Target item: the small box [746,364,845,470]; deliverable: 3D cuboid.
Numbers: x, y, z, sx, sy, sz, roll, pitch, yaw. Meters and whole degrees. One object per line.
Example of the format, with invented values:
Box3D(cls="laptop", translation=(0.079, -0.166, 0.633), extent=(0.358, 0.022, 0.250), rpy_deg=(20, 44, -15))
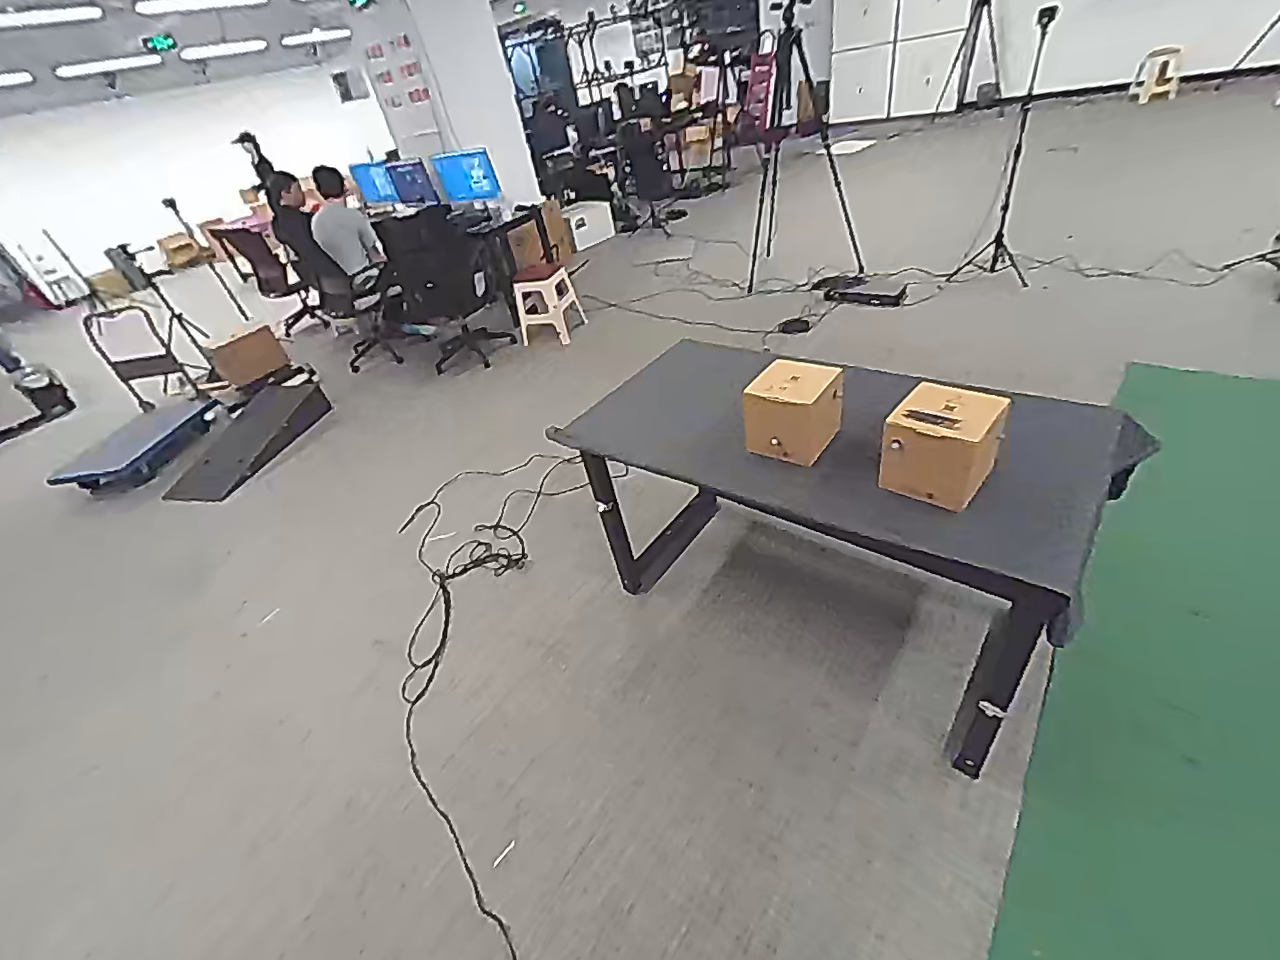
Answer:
Box3D(cls="small box", translation=(0.368, -0.151, 1.282), extent=(0.168, 0.176, 0.179), rpy_deg=(19, 47, 35))
